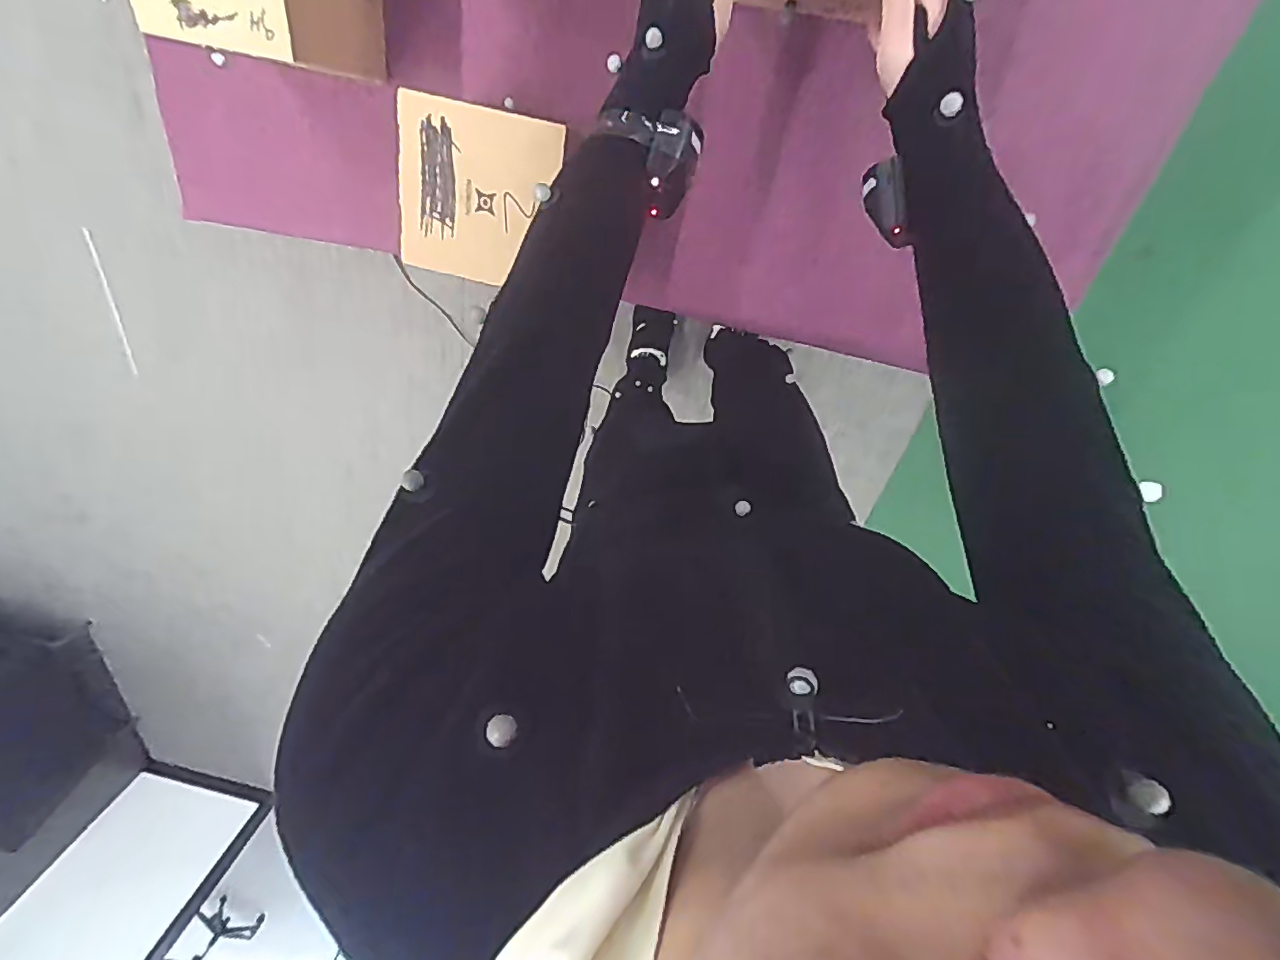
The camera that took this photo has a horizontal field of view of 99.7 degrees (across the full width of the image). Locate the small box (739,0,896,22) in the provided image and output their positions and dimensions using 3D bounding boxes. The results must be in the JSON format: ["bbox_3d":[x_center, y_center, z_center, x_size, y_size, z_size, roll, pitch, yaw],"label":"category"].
[{"bbox_3d":[0.170,-0.527,0.457,0.168,0.176,0.179,13,122,4],"label":"small box"}]

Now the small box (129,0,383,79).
[{"bbox_3d":[-0.387,-0.542,0.552,0.168,0.176,0.179,15,121,4],"label":"small box"}]
